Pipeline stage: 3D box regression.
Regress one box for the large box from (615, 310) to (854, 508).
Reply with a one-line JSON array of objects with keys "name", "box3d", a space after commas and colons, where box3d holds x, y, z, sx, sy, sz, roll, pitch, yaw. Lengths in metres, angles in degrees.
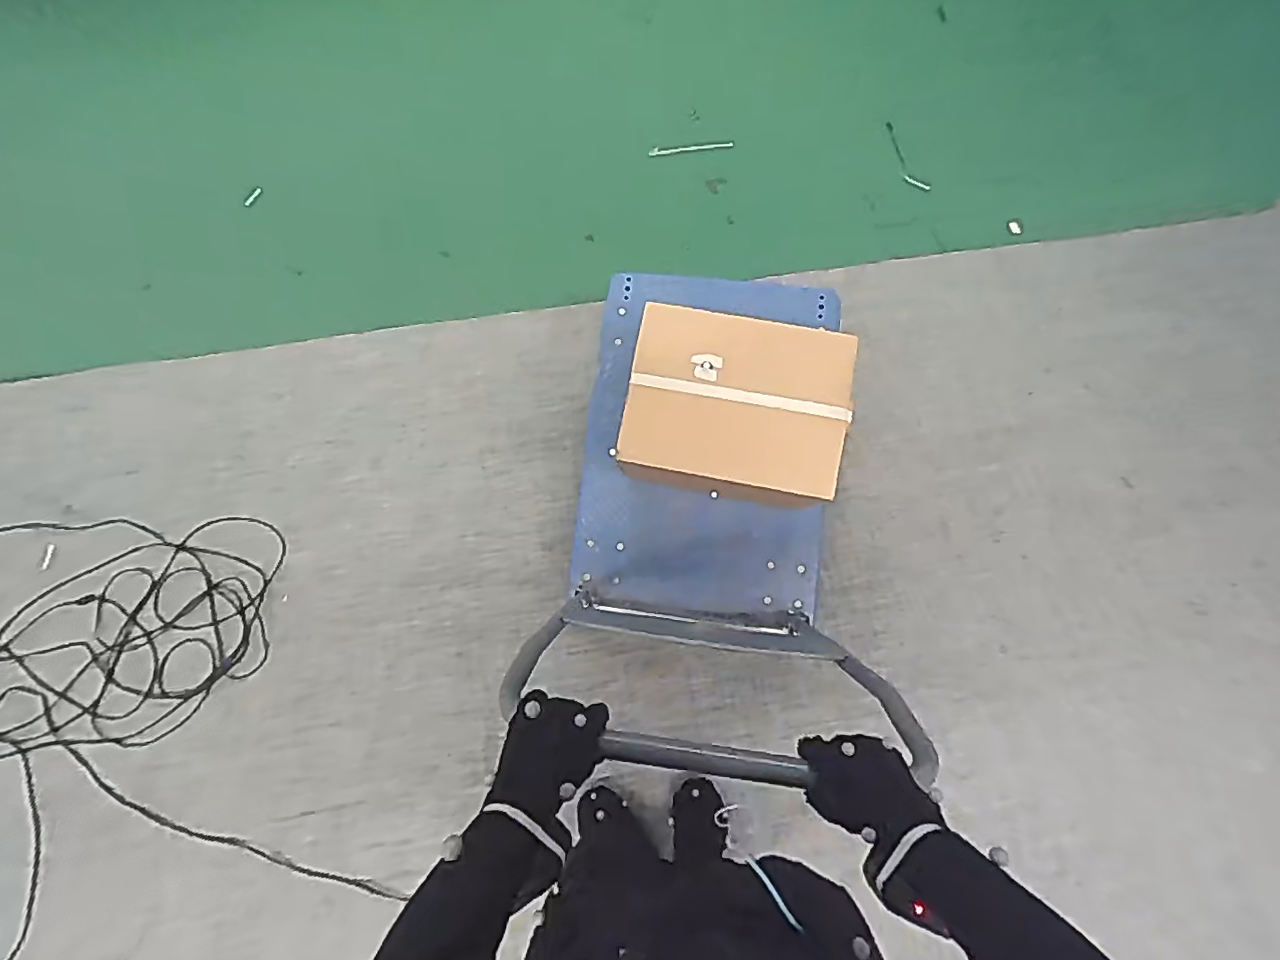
[{"name": "large box", "box3d": [0.187, -0.128, 1.146, 0.408, 0.320, 0.320, 11, 84, 5]}]
